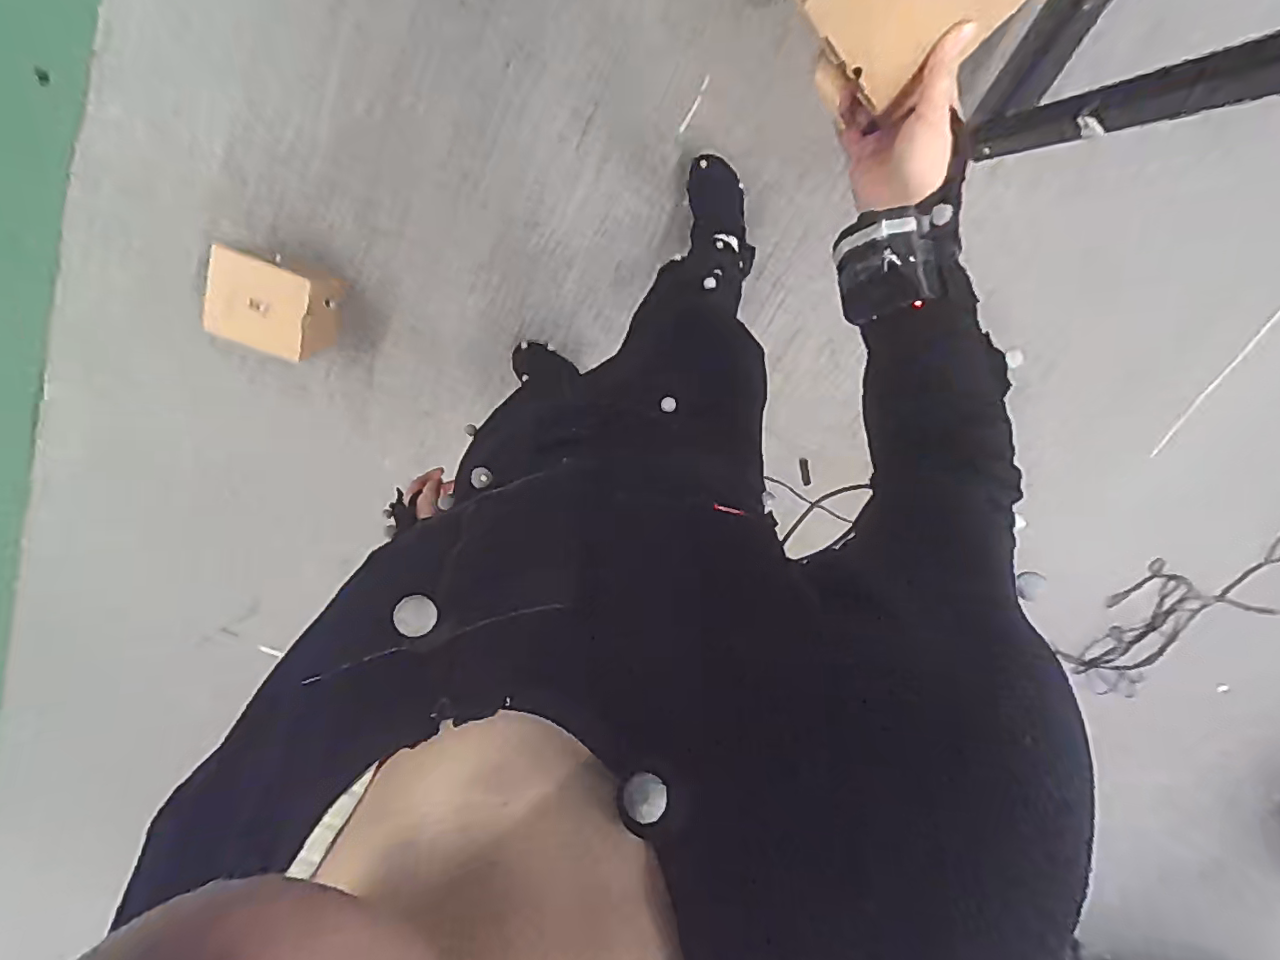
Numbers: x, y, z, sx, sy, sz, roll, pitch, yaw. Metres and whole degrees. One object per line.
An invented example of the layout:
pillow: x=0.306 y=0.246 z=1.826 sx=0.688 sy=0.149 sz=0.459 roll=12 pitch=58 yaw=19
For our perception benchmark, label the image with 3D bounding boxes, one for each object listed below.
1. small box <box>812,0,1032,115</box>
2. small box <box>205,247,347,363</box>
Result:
small box: x=0.153 y=-0.355 z=0.282 sx=0.179 sy=0.168 sz=0.176 roll=-34 pitch=78 yaw=37
small box: x=-0.722 y=-0.356 z=1.088 sx=0.179 sy=0.176 sz=0.168 roll=19 pitch=109 yaw=-12
